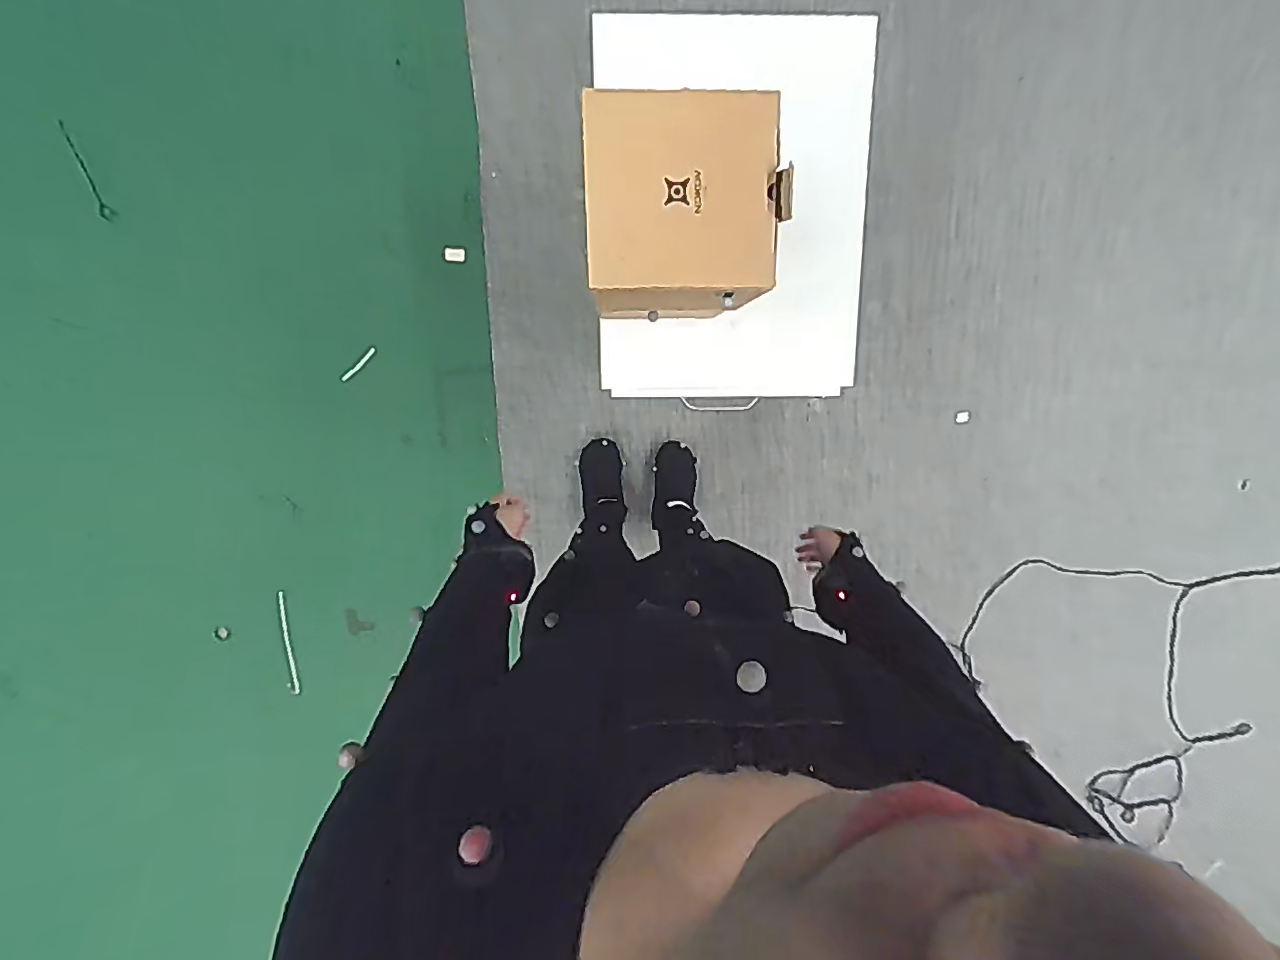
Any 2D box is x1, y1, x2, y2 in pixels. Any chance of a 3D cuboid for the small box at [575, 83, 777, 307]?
[{"bbox_3d":[0.030,-0.273,0.555,0.179,0.176,0.168,-2,101,-3],"label":"small box"}]
